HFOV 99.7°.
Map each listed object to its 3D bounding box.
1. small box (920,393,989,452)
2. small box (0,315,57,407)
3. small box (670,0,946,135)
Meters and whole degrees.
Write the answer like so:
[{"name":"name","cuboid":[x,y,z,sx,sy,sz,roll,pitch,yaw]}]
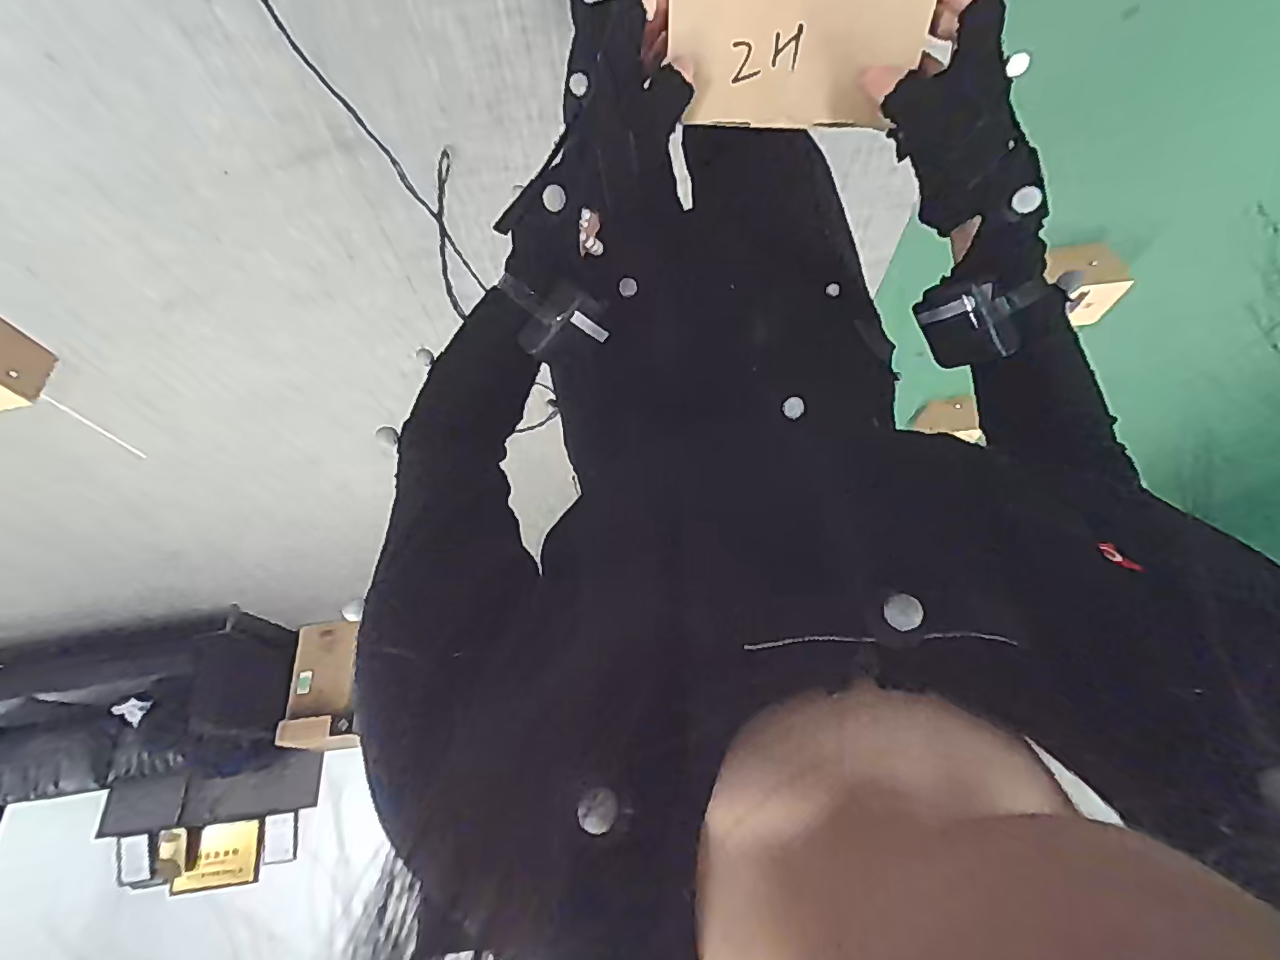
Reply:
[{"name":"small box","cuboid":[1.296,-0.239,2.242,0.168,0.176,0.179,-7,151,-2]},{"name":"small box","cuboid":[-1.655,-0.303,1.359,0.168,0.176,0.179,-9,153,0]},{"name":"small box","cuboid":[0.108,-0.359,0.373,0.168,0.176,0.179,3,134,3]}]
